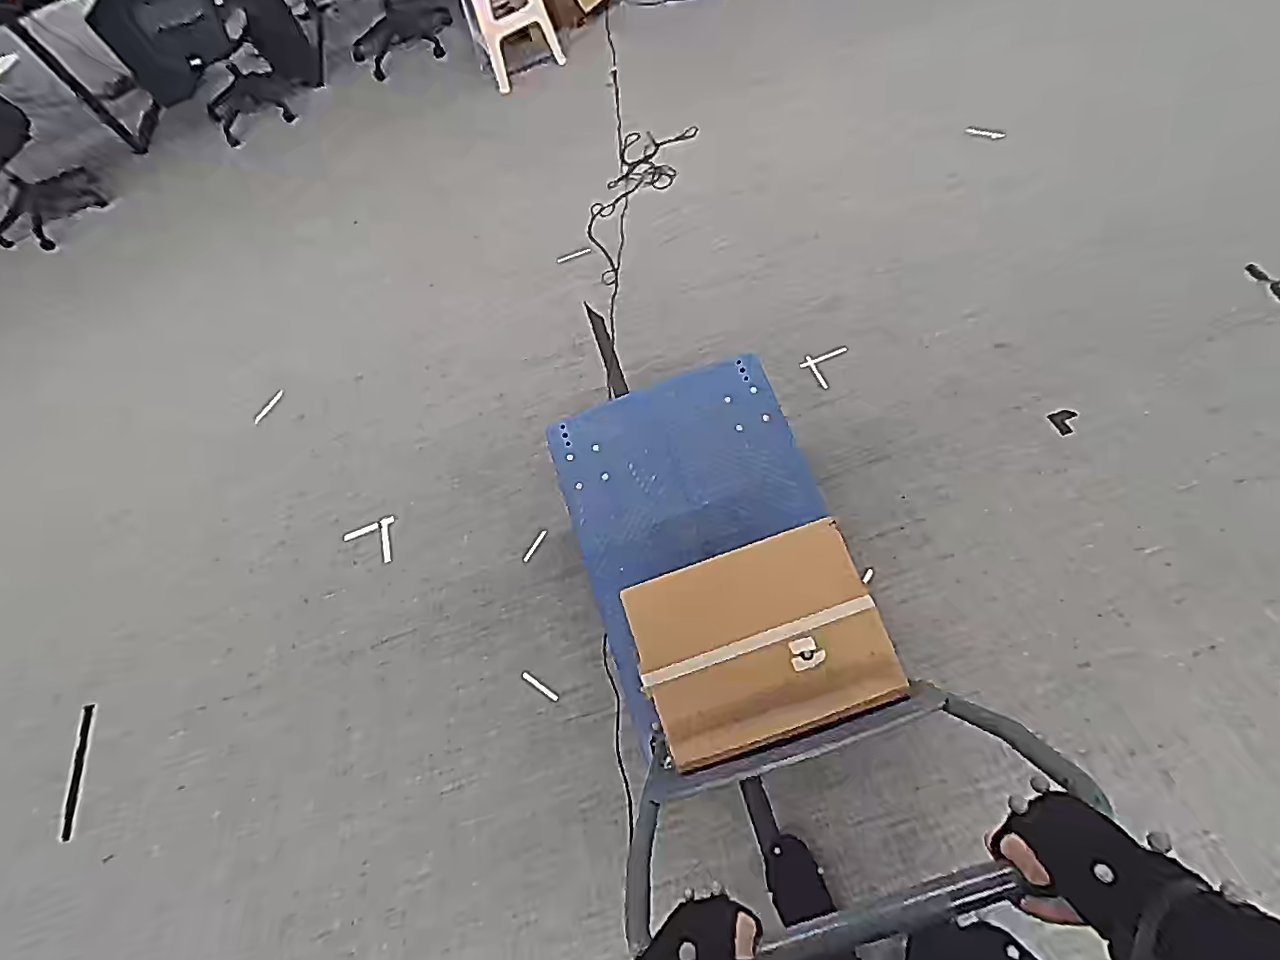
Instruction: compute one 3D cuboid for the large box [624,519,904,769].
[{"bbox_3d":[0.220,0.316,1.078,0.408,0.320,0.320,-20,74,1],"label":"large box"}]
